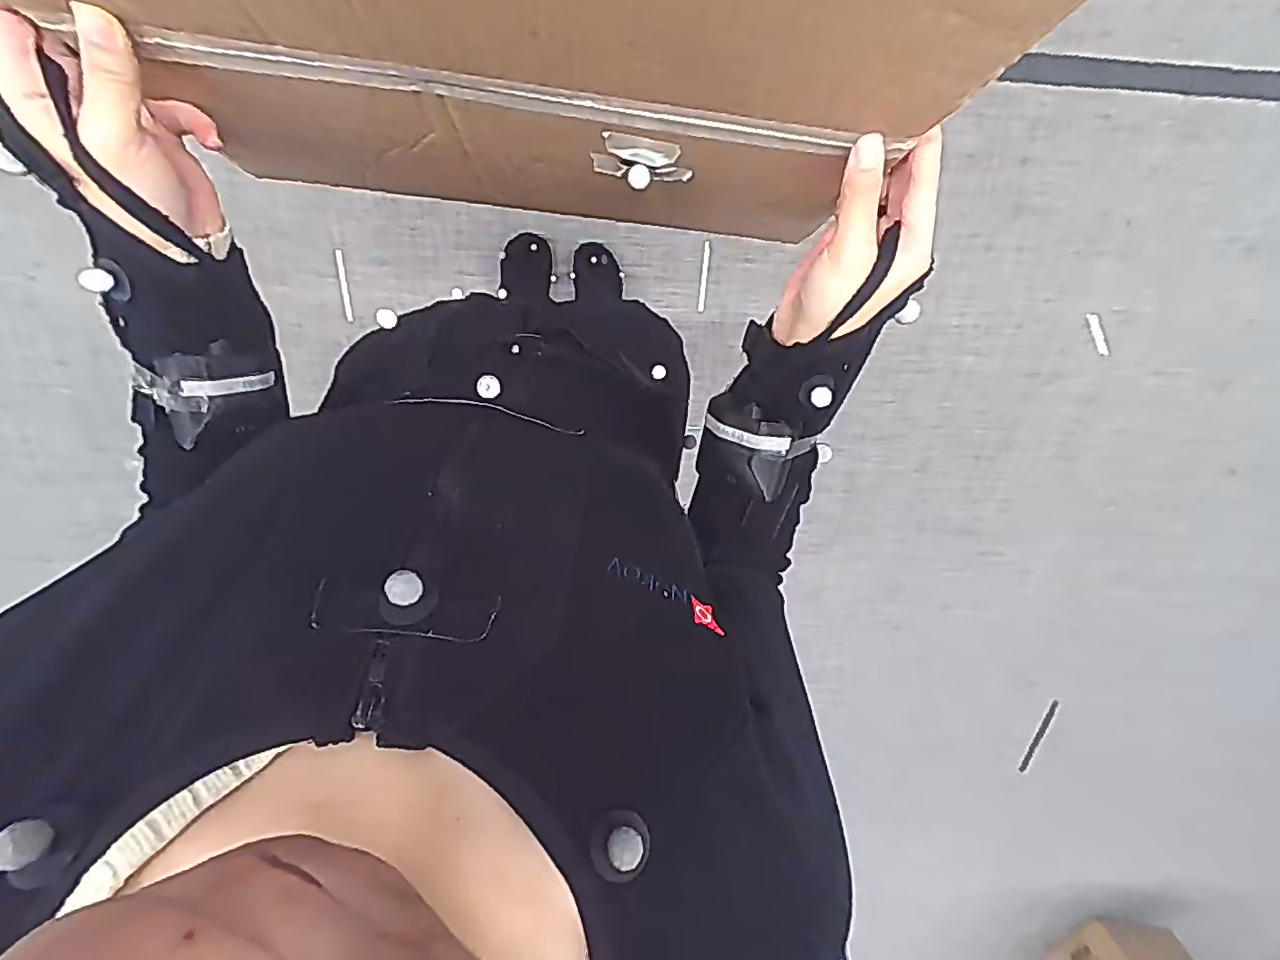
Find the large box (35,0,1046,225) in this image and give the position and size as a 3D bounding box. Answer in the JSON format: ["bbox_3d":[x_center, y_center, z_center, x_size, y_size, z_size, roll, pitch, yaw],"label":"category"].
[{"bbox_3d":[-0.051,-0.343,0.243,0.408,0.320,0.320,3,98,-5],"label":"large box"}]
